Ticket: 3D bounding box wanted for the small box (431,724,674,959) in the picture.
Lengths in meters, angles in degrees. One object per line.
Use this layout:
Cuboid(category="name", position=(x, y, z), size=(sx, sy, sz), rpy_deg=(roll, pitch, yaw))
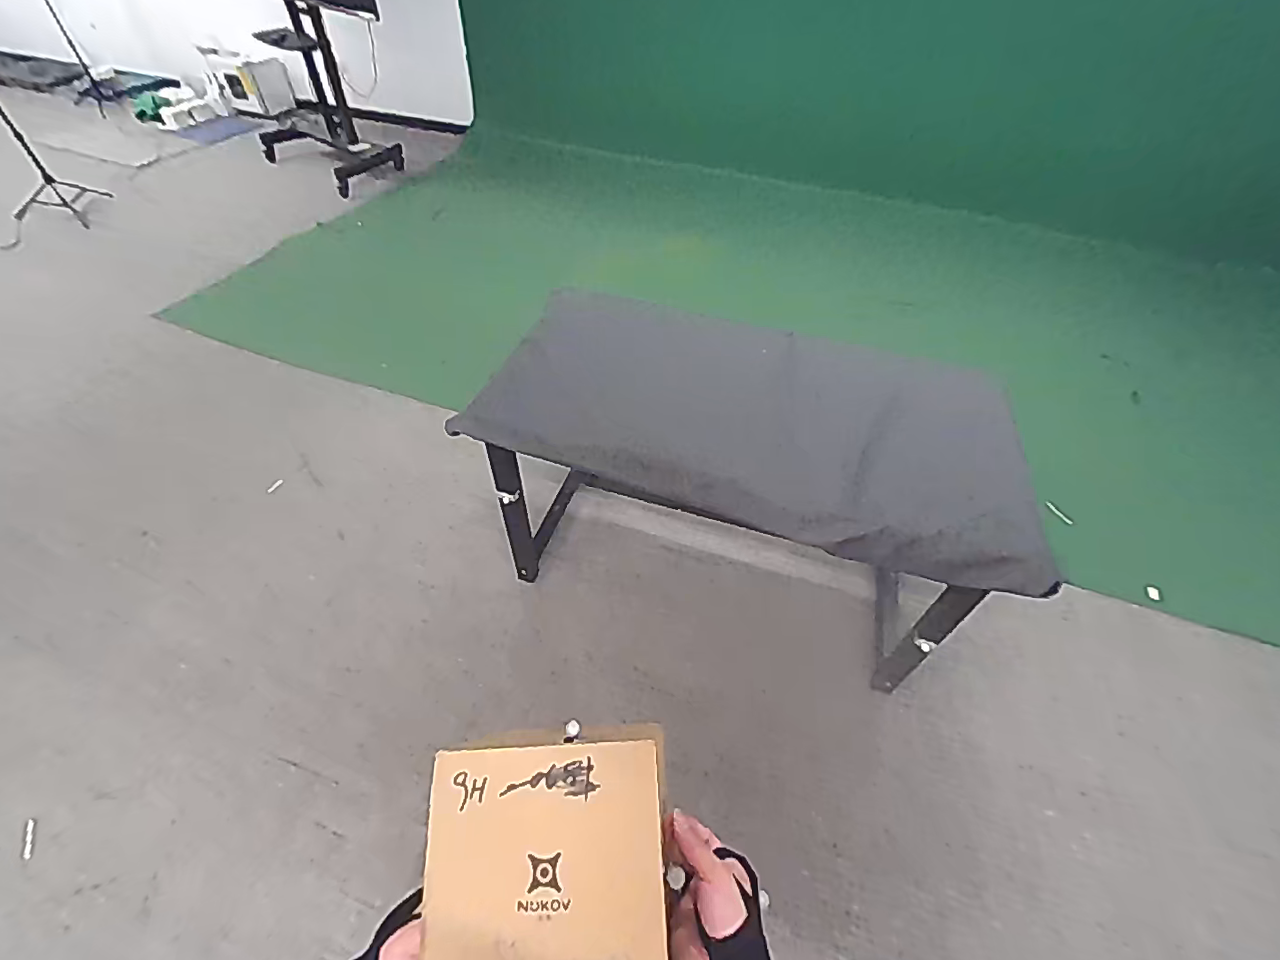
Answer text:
Cuboid(category="small box", position=(-0.058, 0.311, 0.451), size=(0.168, 0.176, 0.179), rpy_deg=(-3, 71, 2))
